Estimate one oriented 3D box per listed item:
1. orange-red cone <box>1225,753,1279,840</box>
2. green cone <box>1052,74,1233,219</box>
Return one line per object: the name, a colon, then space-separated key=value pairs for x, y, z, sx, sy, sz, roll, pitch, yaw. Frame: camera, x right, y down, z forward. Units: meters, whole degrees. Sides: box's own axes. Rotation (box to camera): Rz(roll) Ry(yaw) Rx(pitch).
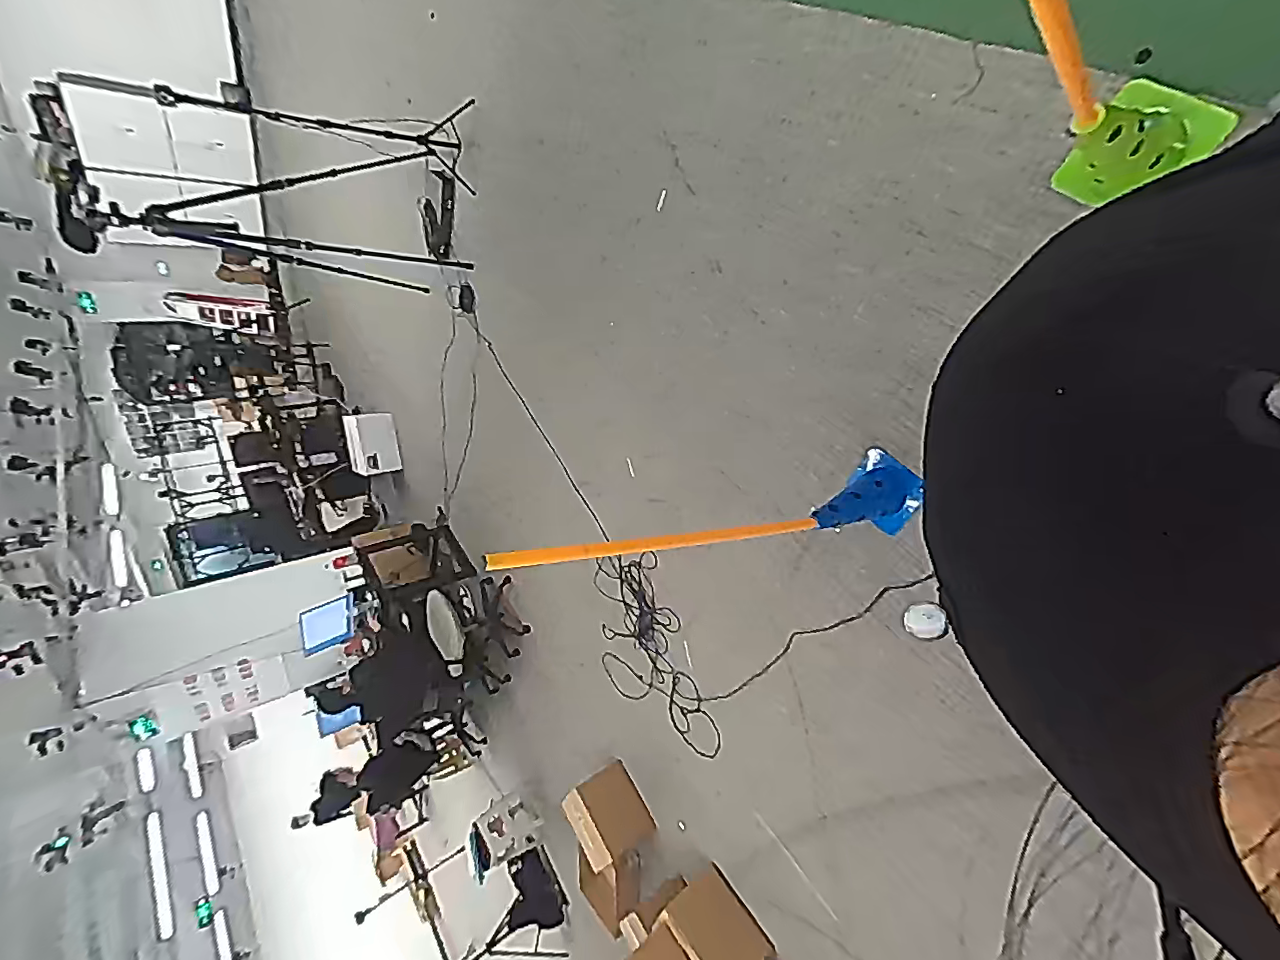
orange-red cone: x=1.176 y=0.664 z=0.938 sx=0.199 sy=0.360 sz=0.198 roll=48 pitch=135 yaw=32
green cone: x=0.822 y=-0.607 z=0.937 sx=0.202 sy=0.368 sz=0.200 roll=51 pitch=136 yaw=28
